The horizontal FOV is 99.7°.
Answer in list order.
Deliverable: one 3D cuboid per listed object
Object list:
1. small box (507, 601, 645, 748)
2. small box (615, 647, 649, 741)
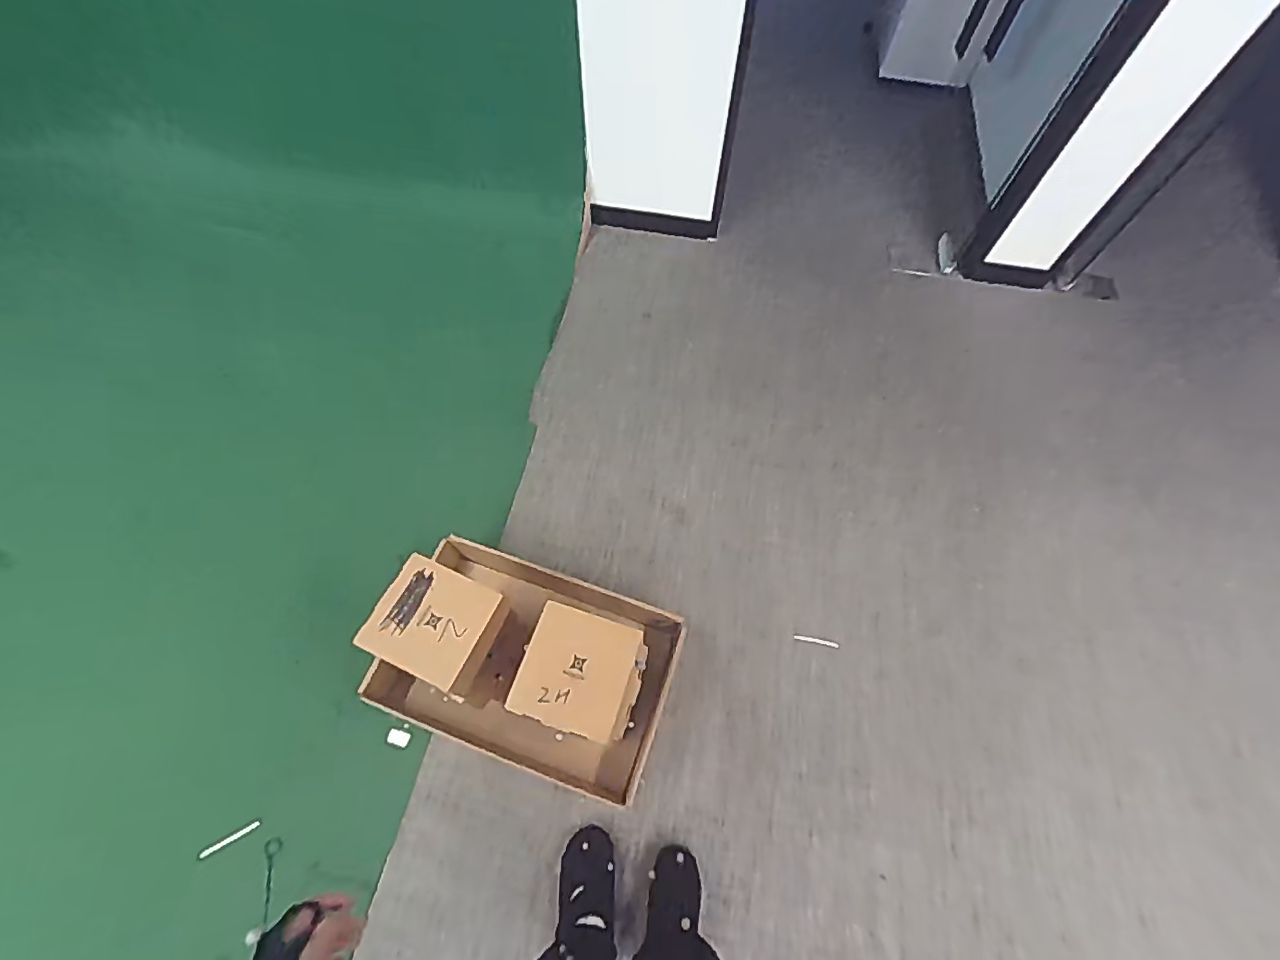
[{"bbox_3d":[-0.097,0.327,0.900,0.168,0.176,0.179,17,65,8],"label":"small box"},{"bbox_3d":[-0.088,0.393,1.051,0.179,0.176,0.168,16,64,8],"label":"small box"}]
